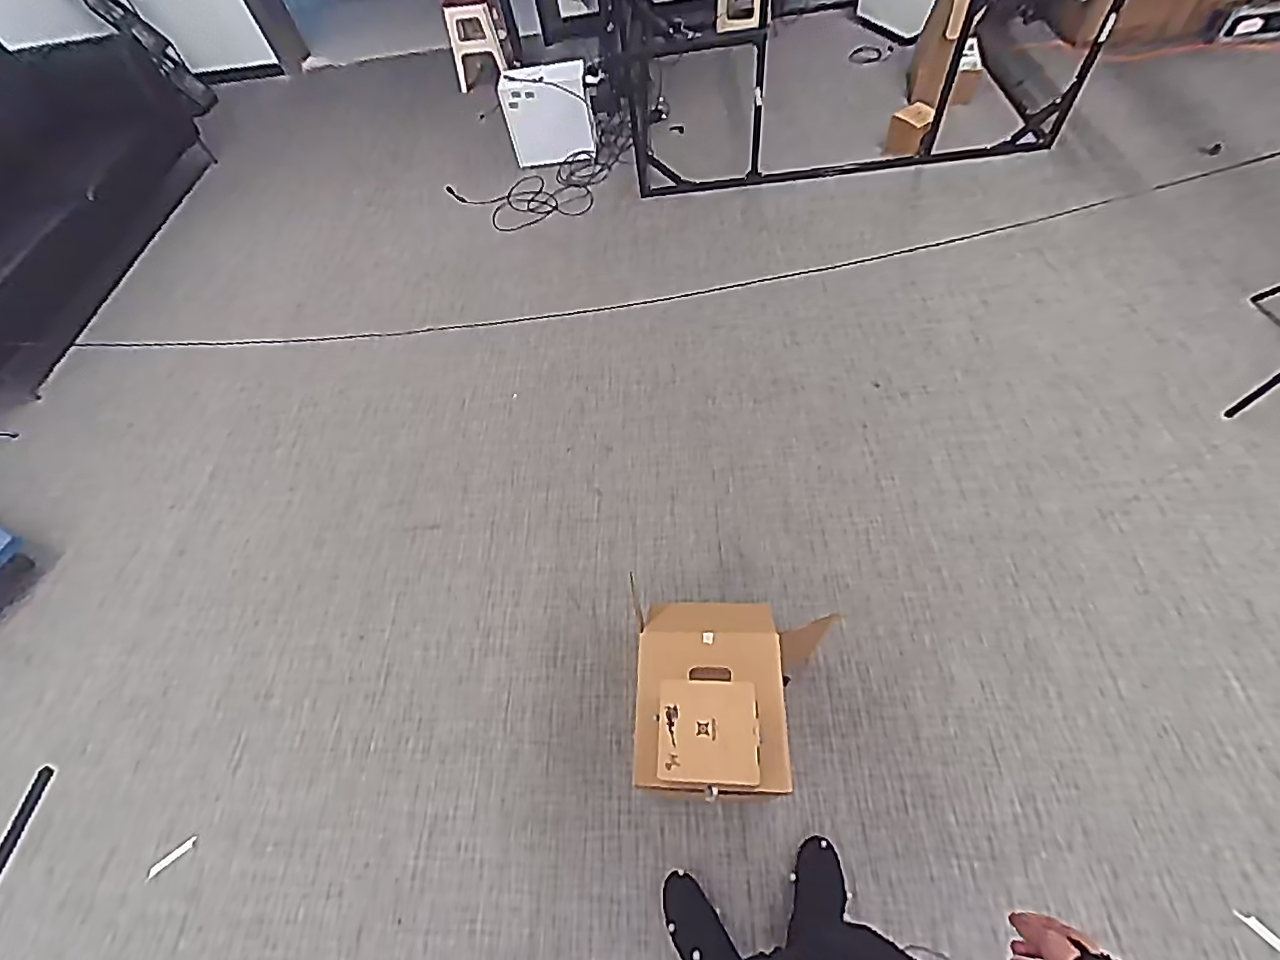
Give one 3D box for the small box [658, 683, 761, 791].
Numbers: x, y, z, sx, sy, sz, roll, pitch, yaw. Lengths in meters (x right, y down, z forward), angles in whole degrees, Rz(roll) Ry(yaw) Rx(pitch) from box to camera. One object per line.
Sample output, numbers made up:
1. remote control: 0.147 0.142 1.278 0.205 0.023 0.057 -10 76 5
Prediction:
1. small box: 0.131 0.490 1.026 0.179 0.176 0.168 0 60 8
